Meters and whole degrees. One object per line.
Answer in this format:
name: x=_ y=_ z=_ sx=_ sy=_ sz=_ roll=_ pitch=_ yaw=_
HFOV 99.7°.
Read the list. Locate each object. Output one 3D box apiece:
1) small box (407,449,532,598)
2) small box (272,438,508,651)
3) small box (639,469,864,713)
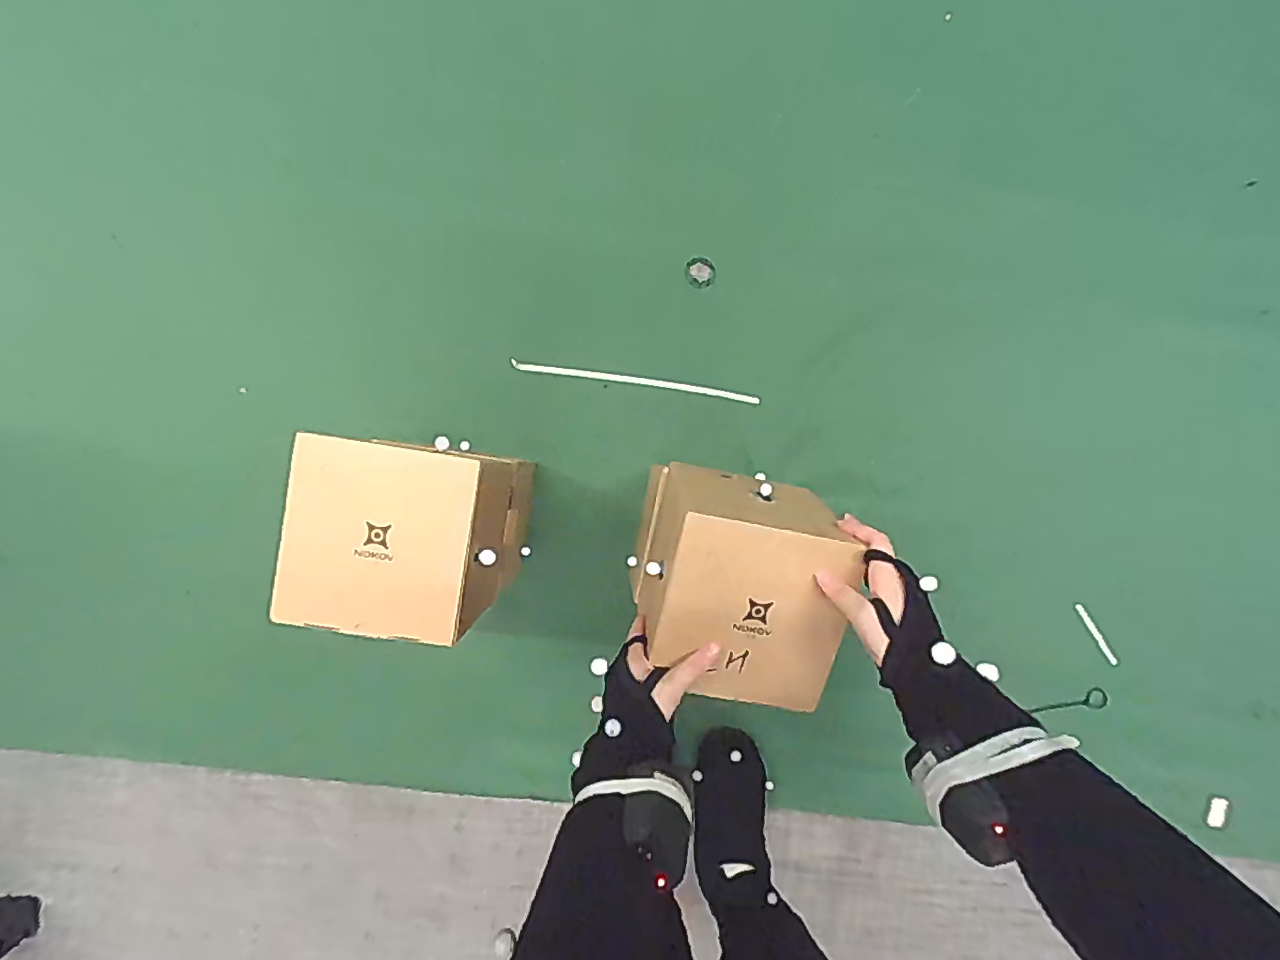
small box: x=-0.251 y=0.049 z=0.733 sx=0.179 sy=0.176 sz=0.168 roll=8 pitch=91 yaw=-2
small box: x=-0.243 y=0.057 z=0.570 sx=0.168 sy=0.176 sz=0.179 roll=9 pitch=91 yaw=-3
small box: x=0.094 y=0.101 z=0.556 sx=0.168 sy=0.176 sz=0.179 roll=12 pitch=106 yaw=-5
